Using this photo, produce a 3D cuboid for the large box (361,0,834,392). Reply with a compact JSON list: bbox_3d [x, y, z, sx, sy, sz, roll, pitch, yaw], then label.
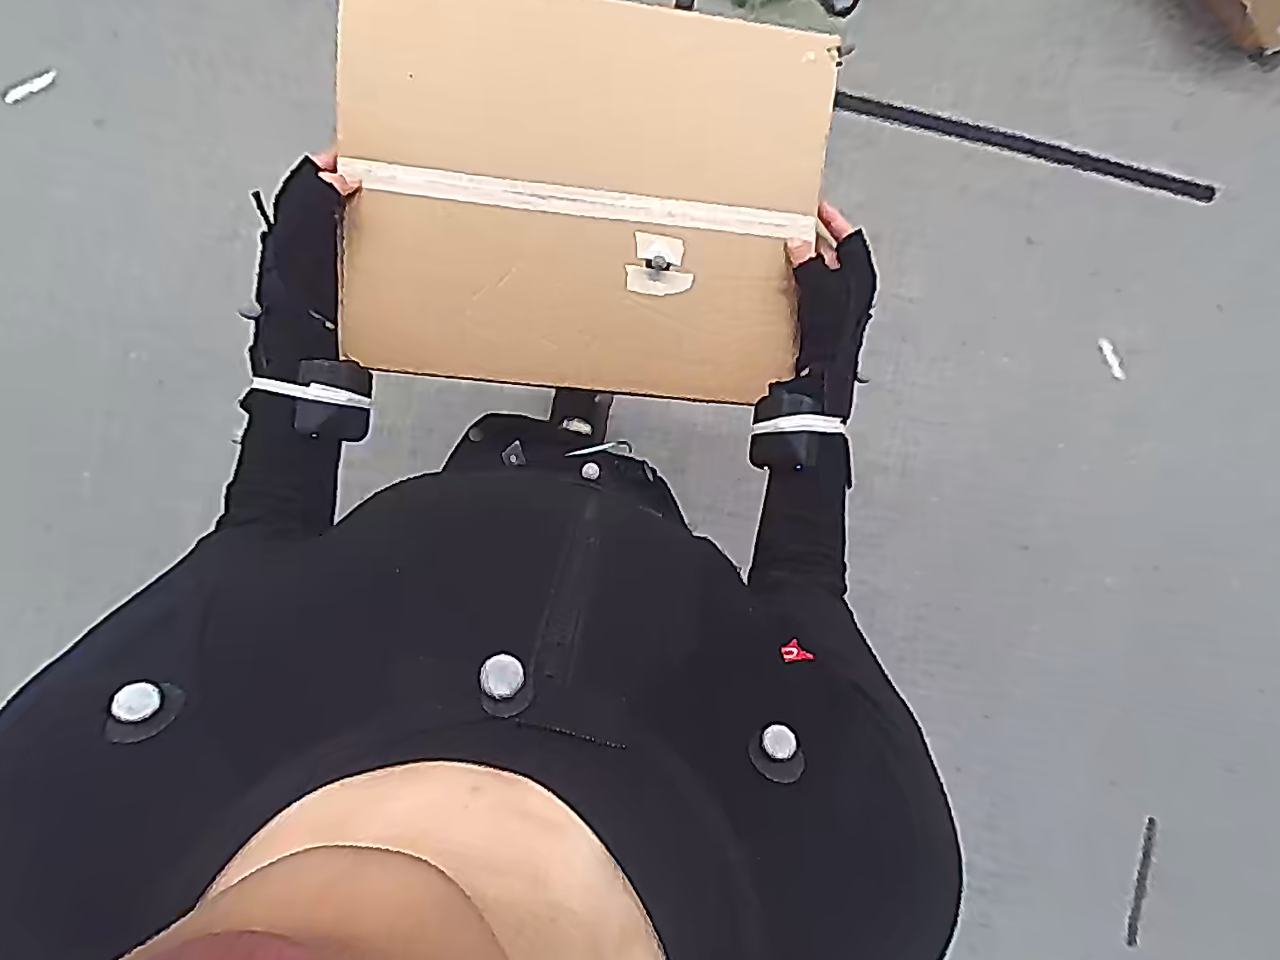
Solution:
[{"bbox_3d":[-0.054,-0.272,0.621,0.408,0.320,0.320,5,100,-6],"label":"large box"}]
